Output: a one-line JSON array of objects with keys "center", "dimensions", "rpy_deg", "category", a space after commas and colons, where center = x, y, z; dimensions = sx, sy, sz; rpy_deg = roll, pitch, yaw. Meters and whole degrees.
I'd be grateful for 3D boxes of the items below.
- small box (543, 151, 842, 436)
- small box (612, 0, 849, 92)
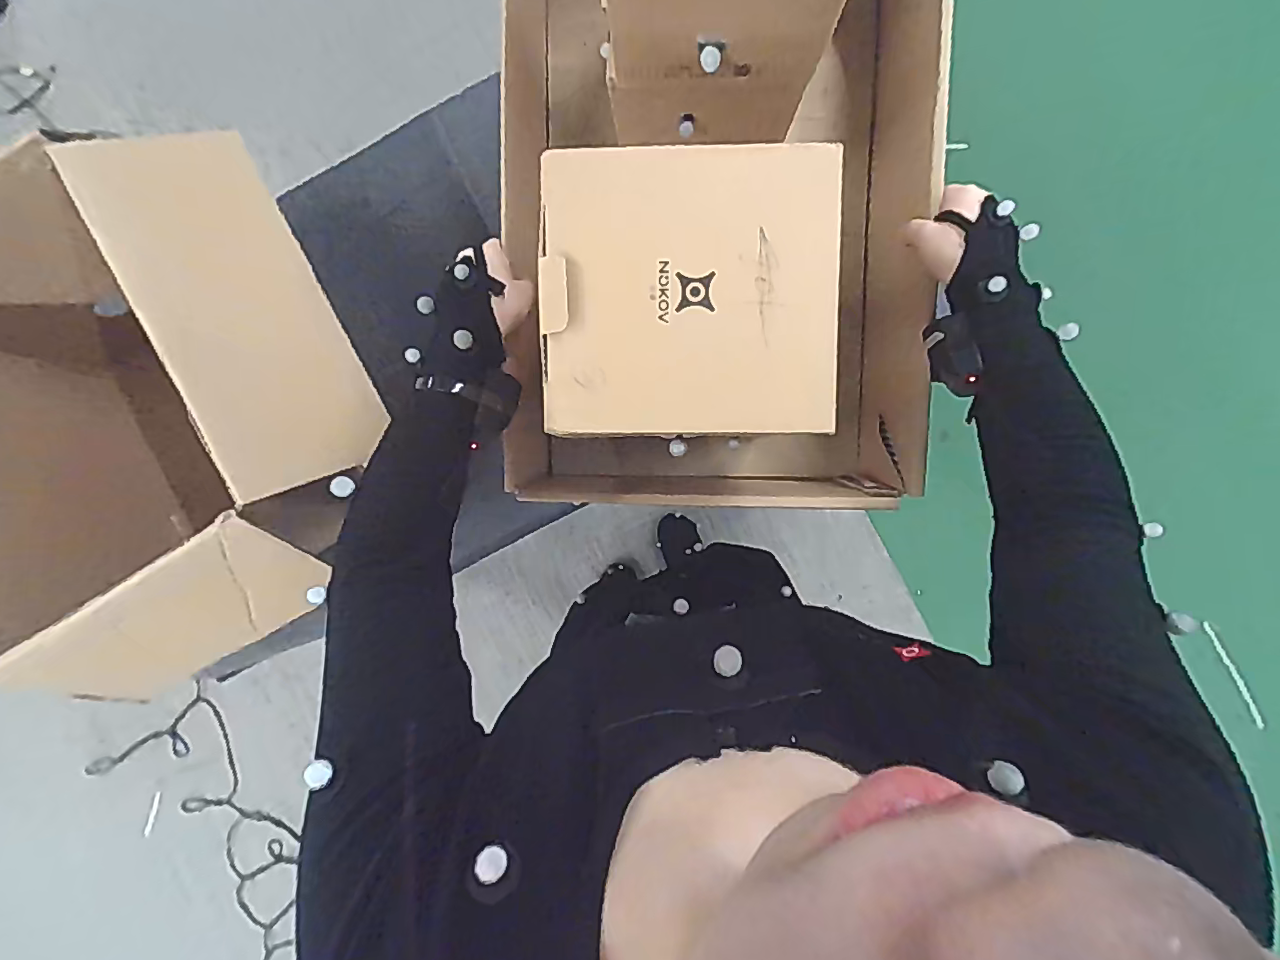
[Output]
[{"center": [0.032, -0.117, 0.402], "dimensions": [0.179, 0.176, 0.168], "rpy_deg": [0, 96, 2], "category": "small box"}, {"center": [0.063, -0.408, 0.368], "dimensions": [0.168, 0.176, 0.179], "rpy_deg": [1, 97, 3], "category": "small box"}]
